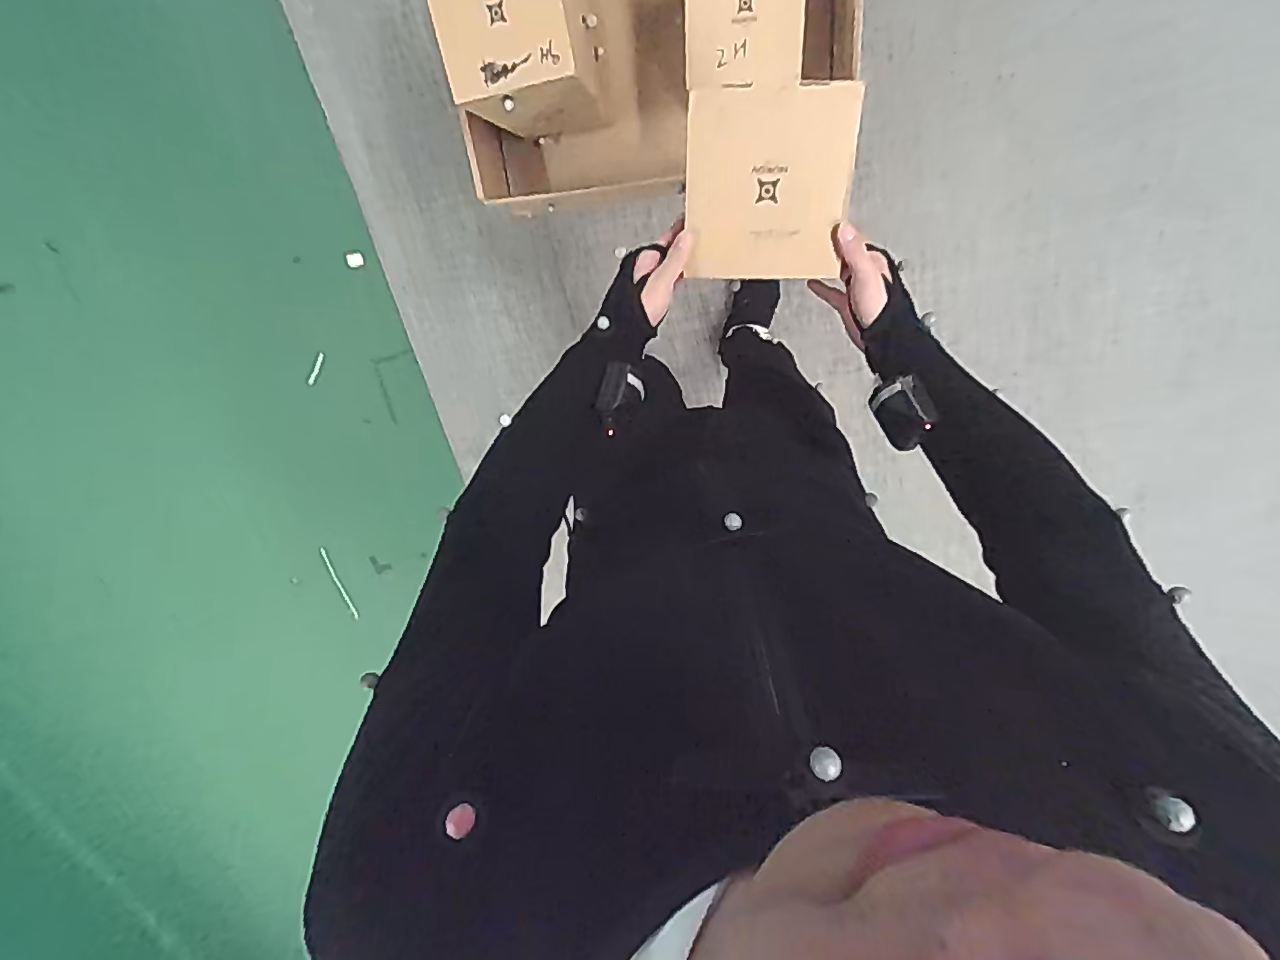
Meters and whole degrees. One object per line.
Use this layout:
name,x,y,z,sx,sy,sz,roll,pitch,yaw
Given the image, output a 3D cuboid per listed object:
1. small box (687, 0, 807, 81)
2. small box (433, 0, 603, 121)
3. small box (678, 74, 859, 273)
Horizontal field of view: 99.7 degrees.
small box,0.158,-0.690,0.816,0.168,0.176,0.179,2,115,9
small box,-0.159,-0.613,0.724,0.168,0.176,0.179,-5,114,14
small box,0.132,-0.334,0.619,0.168,0.176,0.179,4,113,6
